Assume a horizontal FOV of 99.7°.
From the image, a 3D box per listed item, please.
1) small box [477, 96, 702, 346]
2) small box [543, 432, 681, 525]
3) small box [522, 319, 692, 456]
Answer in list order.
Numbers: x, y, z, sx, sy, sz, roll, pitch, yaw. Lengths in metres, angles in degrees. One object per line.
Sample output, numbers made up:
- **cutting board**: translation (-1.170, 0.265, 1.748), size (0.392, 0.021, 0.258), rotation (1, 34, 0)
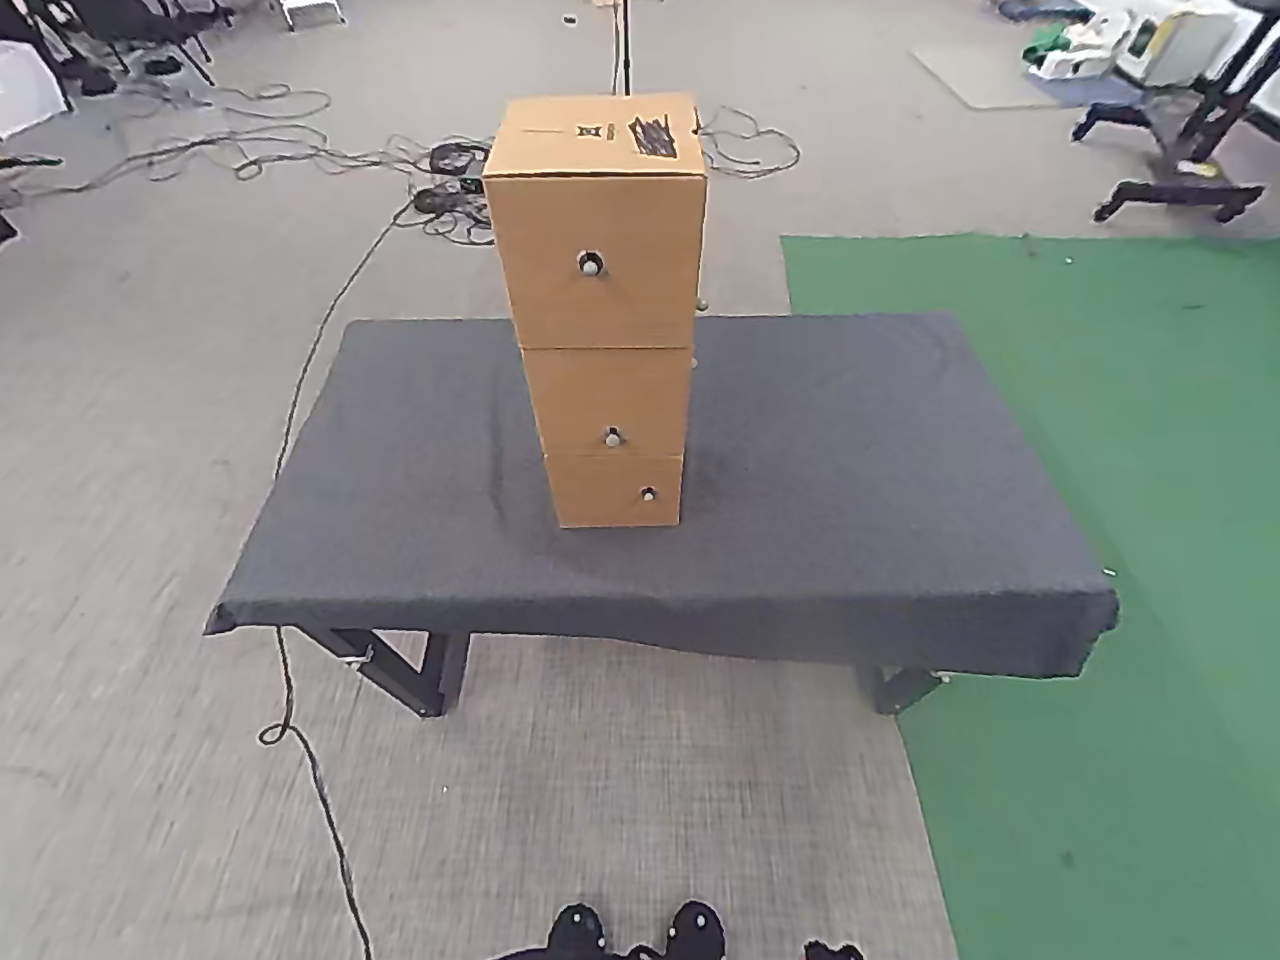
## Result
- **small box**: translation (-0.038, -0.245, 0.527), size (0.179, 0.176, 0.168), rotation (0, 52, 1)
- **small box**: translation (-0.036, -0.047, 0.788), size (0.179, 0.176, 0.168), rotation (-2, 52, 0)
- **small box**: translation (-0.037, -0.144, 0.660), size (0.179, 0.176, 0.168), rotation (-3, 54, -1)
